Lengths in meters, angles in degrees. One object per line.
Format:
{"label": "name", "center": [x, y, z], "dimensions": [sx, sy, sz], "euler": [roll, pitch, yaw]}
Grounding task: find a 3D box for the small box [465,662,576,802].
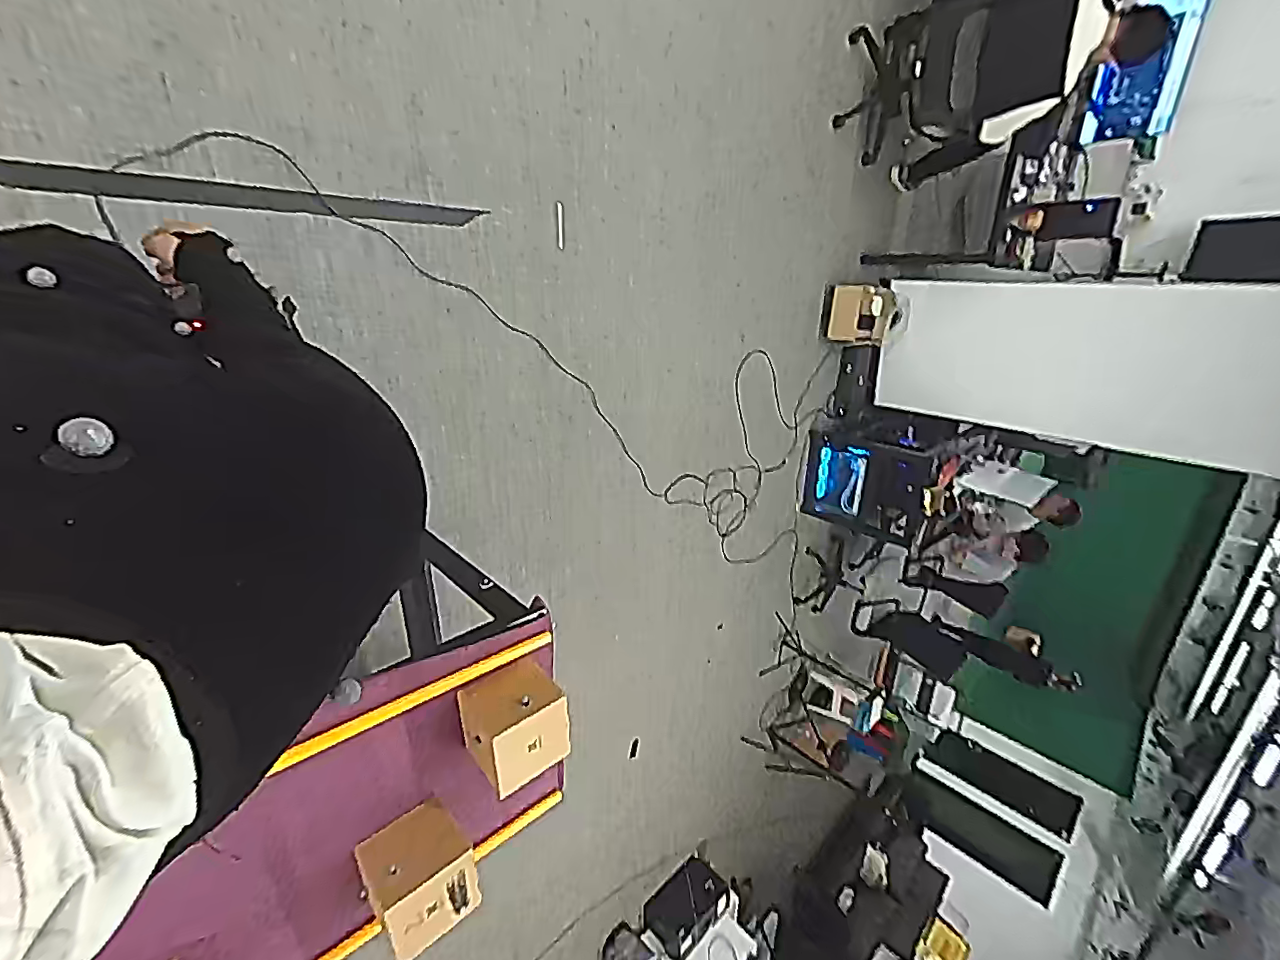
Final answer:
{"label": "small box", "center": [-0.260, 0.529, 1.161], "dimensions": [0.179, 0.176, 0.168], "euler": [-19, 118, -38]}
